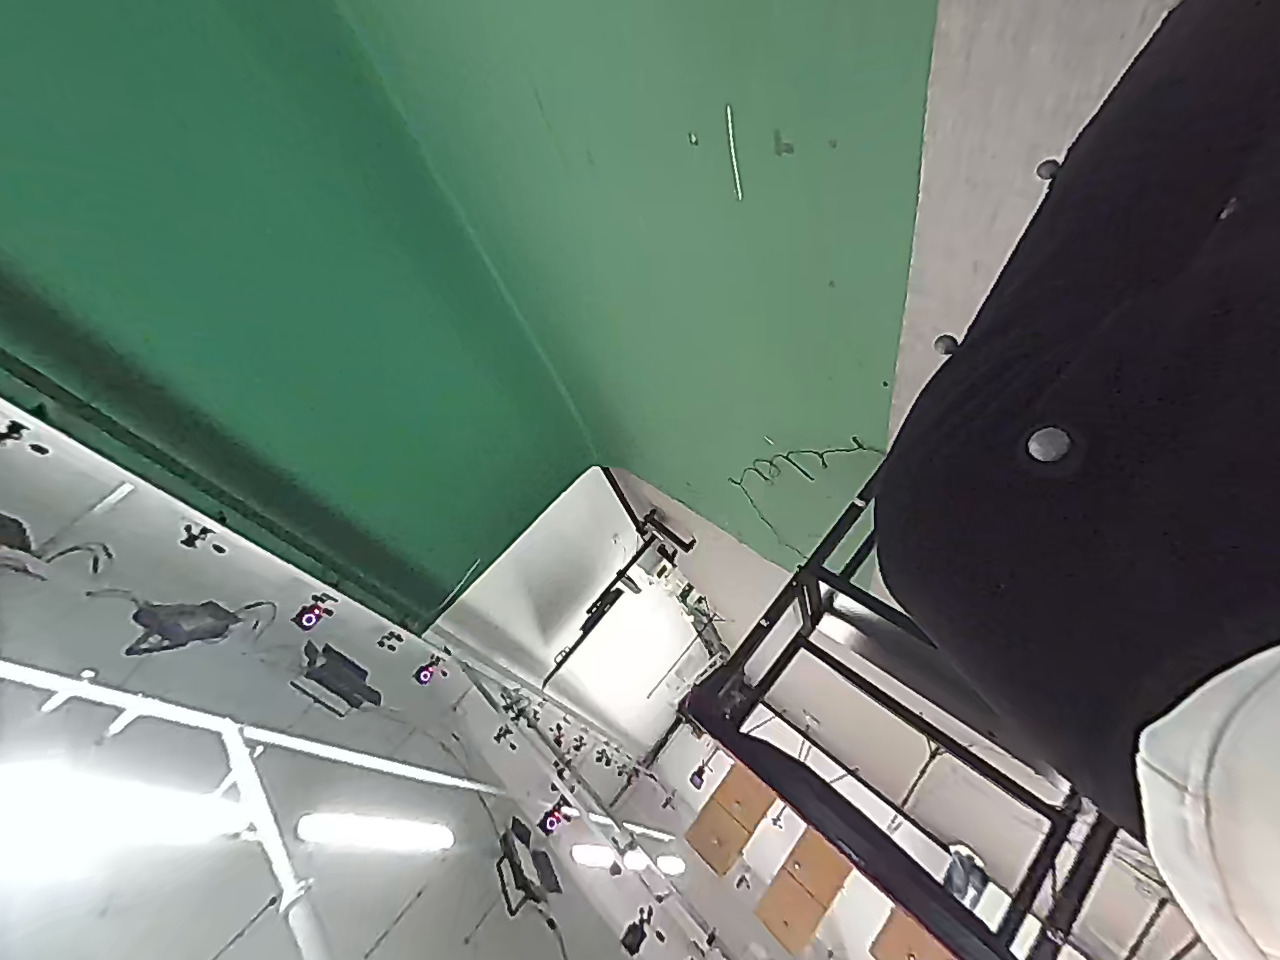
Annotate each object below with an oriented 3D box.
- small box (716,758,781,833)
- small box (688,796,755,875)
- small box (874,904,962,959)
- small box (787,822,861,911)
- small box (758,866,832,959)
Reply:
[{"bbox_3d":[0.408,1.163,1.993,0.179,0.176,0.168,32,161,32],"label":"small box"},{"bbox_3d":[0.301,1.279,1.950,0.179,0.176,0.168,31,159,33],"label":"small box"},{"bbox_3d":[0.832,1.421,1.628,0.179,0.176,0.168,29,160,38],"label":"small box"},{"bbox_3d":[0.624,1.295,1.818,0.179,0.176,0.168,31,161,37],"label":"small box"},{"bbox_3d":[0.516,1.413,1.777,0.179,0.176,0.168,32,161,36],"label":"small box"}]
